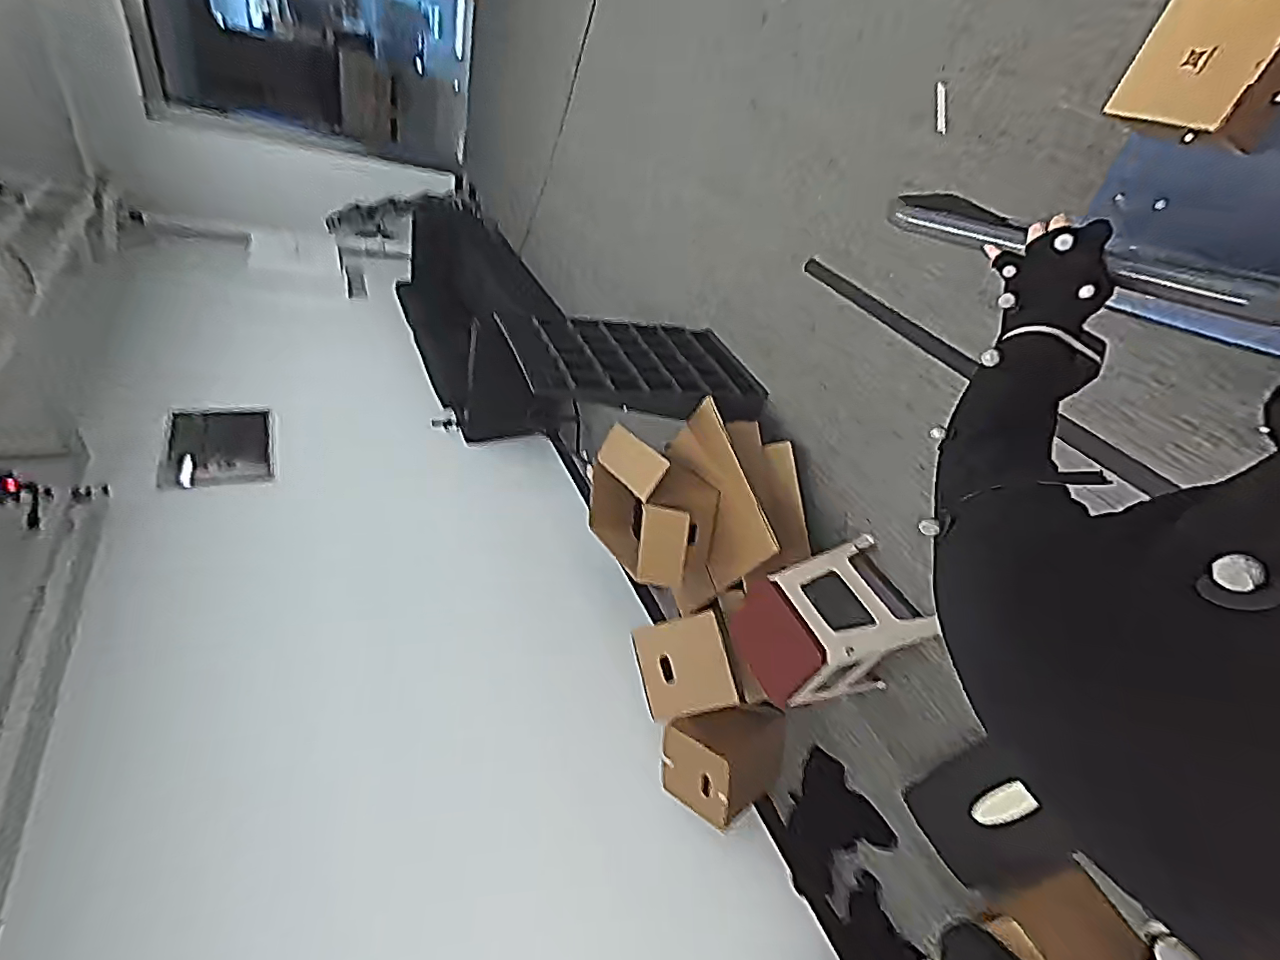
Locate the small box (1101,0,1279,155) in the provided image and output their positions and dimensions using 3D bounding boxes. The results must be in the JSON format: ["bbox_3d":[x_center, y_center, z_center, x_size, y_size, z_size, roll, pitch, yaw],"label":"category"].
[{"bbox_3d":[0.920,-0.648,0.873,0.179,0.176,0.168,52,137,40],"label":"small box"}]
